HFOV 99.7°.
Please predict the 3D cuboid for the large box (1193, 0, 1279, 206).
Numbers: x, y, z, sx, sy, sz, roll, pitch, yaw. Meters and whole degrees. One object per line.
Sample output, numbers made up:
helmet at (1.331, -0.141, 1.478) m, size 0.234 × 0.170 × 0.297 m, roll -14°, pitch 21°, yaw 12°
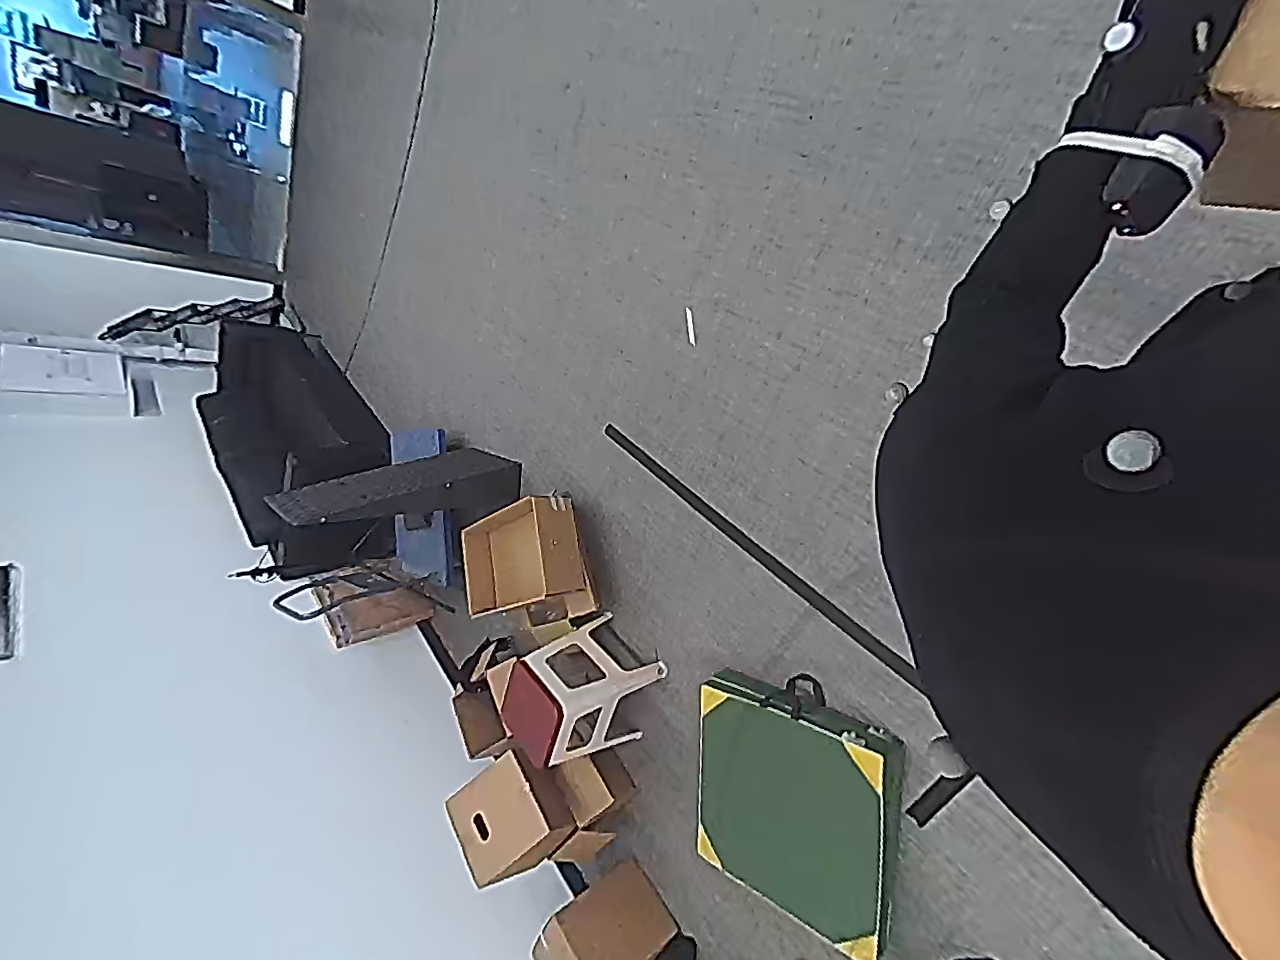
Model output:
large box at (0.657, -0.349, 0.308) m, size 0.408 × 0.320 × 0.320 m, roll 31°, pitch 119°, yaw 39°
